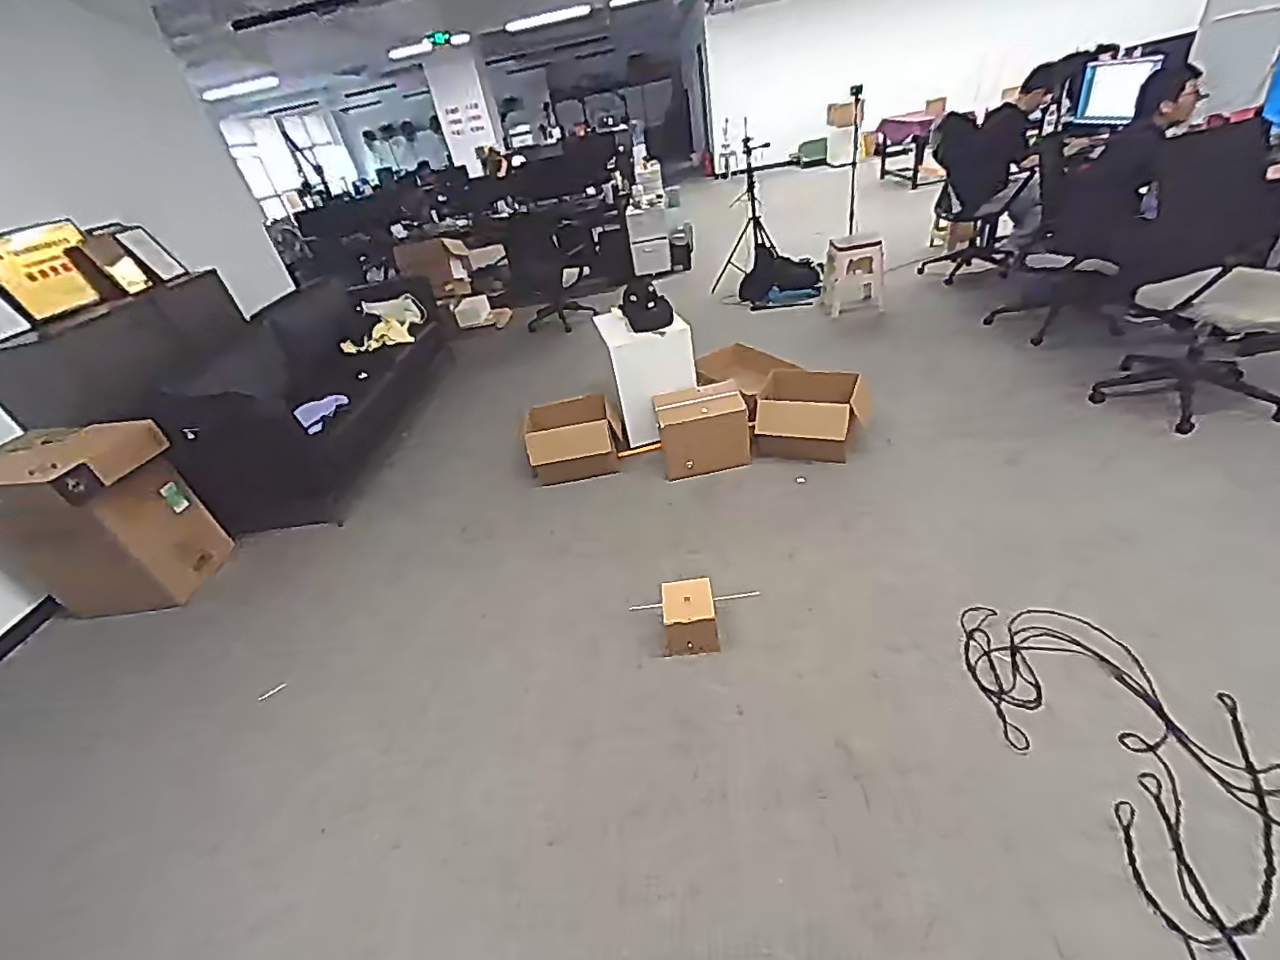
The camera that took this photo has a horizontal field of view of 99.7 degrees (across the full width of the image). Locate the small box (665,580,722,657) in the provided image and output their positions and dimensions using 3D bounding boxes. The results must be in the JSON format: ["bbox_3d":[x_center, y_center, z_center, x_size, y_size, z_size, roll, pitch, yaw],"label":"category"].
[{"bbox_3d":[0.175,0.460,1.800,0.168,0.176,0.179,-9,35,6],"label":"small box"}]
